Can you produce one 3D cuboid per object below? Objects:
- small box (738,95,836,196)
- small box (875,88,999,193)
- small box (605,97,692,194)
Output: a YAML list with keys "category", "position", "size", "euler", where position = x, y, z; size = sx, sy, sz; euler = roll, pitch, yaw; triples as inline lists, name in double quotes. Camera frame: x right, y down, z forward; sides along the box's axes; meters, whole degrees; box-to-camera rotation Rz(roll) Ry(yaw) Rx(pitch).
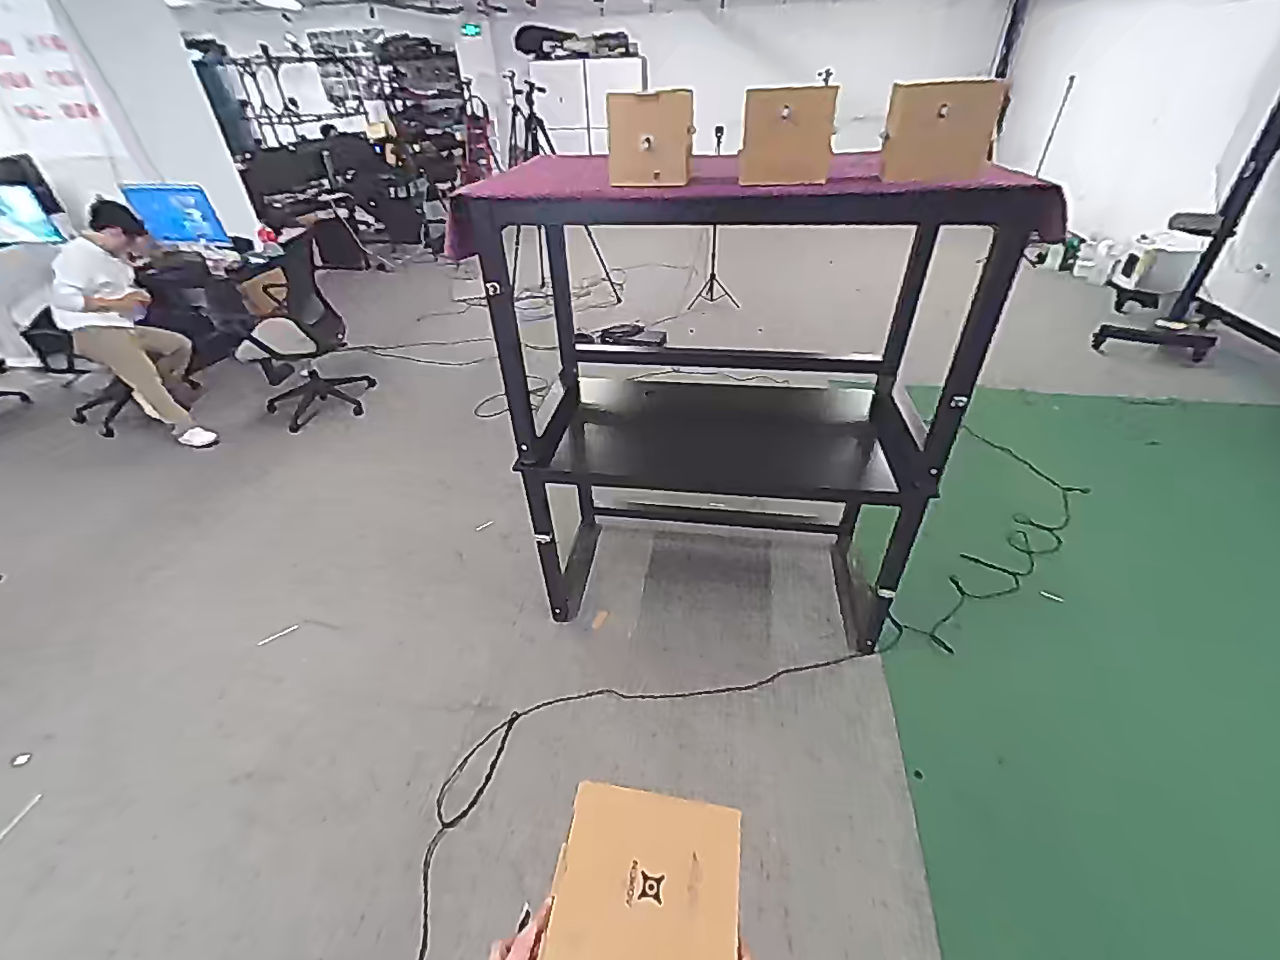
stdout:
- category: "small box"
  position: [0.304, -0.711, 1.148]
  size: [0.179, 0.176, 0.168]
  euler: [3, 35, 10]
- category: "small box"
  position: [0.587, -0.689, 1.099]
  size: [0.179, 0.176, 0.168]
  euler: [6, 38, 12]
- category: "small box"
  position: [0.025, -0.732, 1.188]
  size: [0.168, 0.176, 0.179]
  euler: [4, 36, 8]
